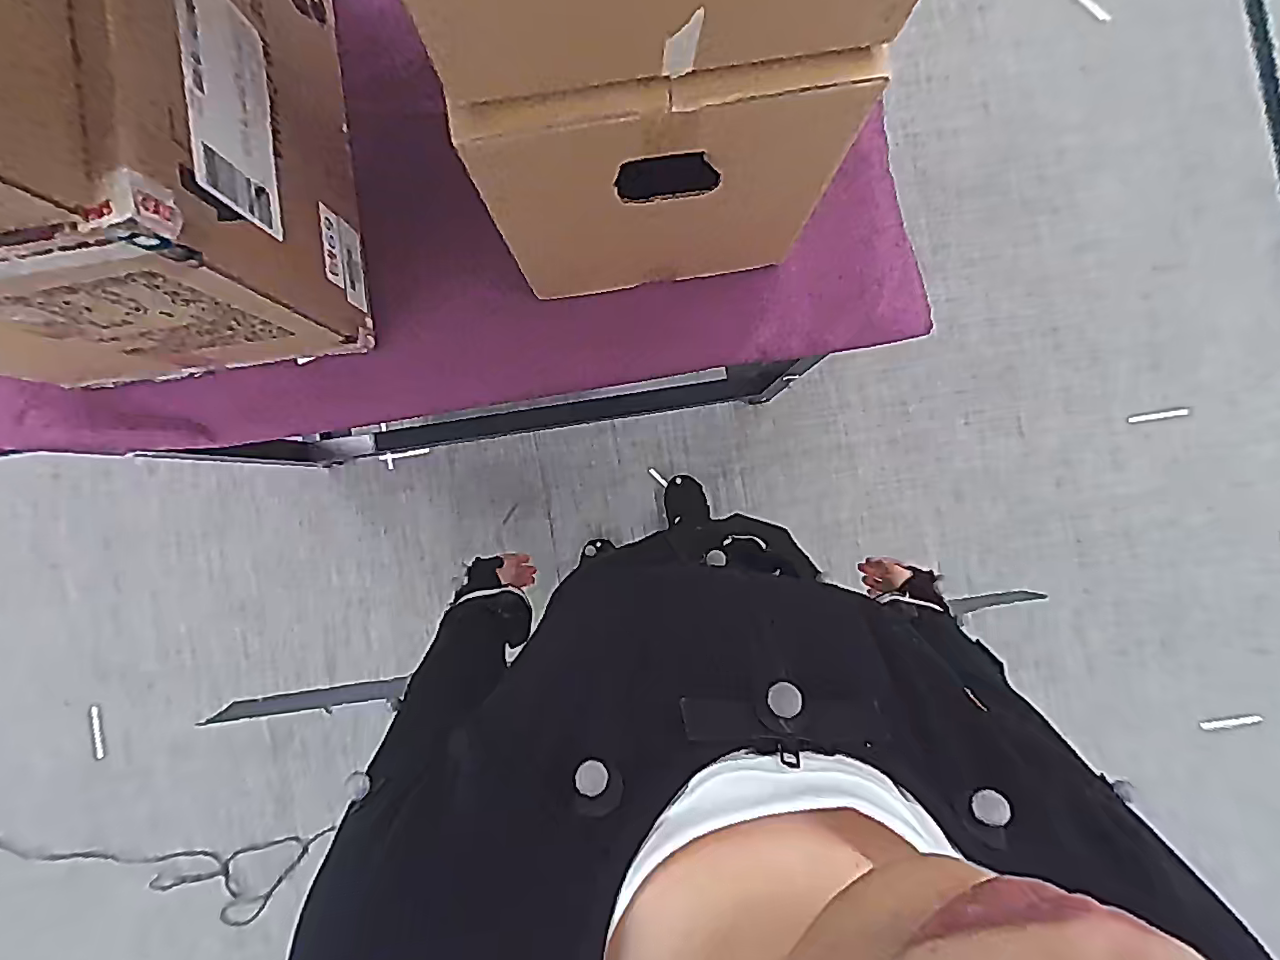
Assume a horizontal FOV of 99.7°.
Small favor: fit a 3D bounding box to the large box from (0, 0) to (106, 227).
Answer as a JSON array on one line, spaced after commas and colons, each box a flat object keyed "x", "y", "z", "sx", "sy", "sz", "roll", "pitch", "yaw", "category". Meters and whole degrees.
[{"x": -0.544, "y": -0.357, "z": 0.225, "sx": 0.320, "sy": 0.320, "sz": 0.408, "roll": -9, "pitch": 89, "yaw": 2, "category": "large box"}]
